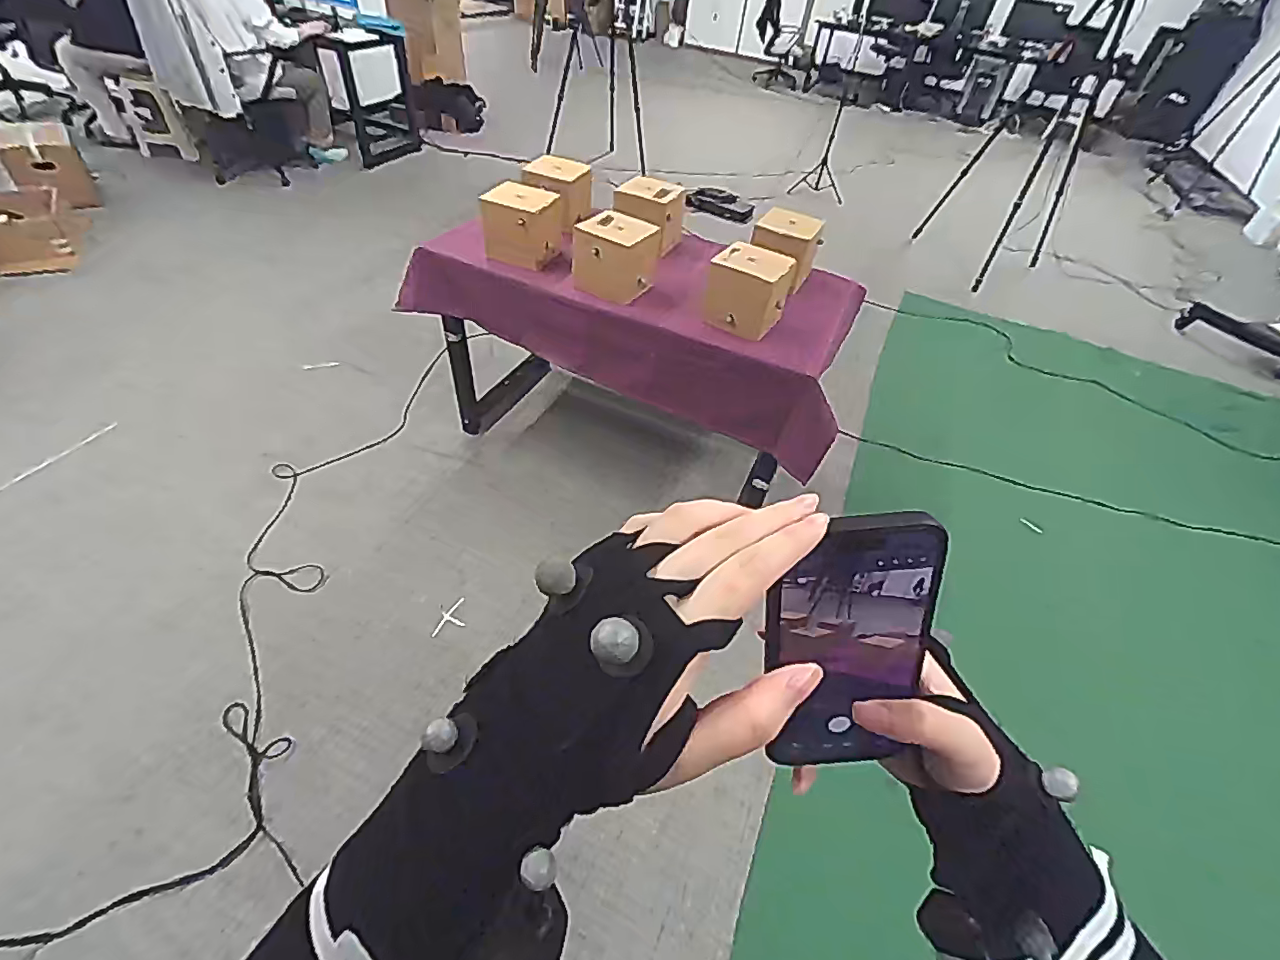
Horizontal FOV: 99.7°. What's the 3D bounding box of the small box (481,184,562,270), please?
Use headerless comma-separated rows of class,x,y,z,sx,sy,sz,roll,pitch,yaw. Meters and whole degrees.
small box,-0.340,-0.733,1.573,0.179,0.176,0.168,19,47,8

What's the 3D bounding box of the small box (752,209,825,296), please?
small box,0.431,-0.684,1.629,0.168,0.176,0.179,25,49,16

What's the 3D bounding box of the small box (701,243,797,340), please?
small box,0.283,-0.494,1.428,0.179,0.176,0.168,28,49,18

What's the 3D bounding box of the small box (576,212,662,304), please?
small box,-0.064,-0.609,1.491,0.179,0.176,0.168,28,49,17
